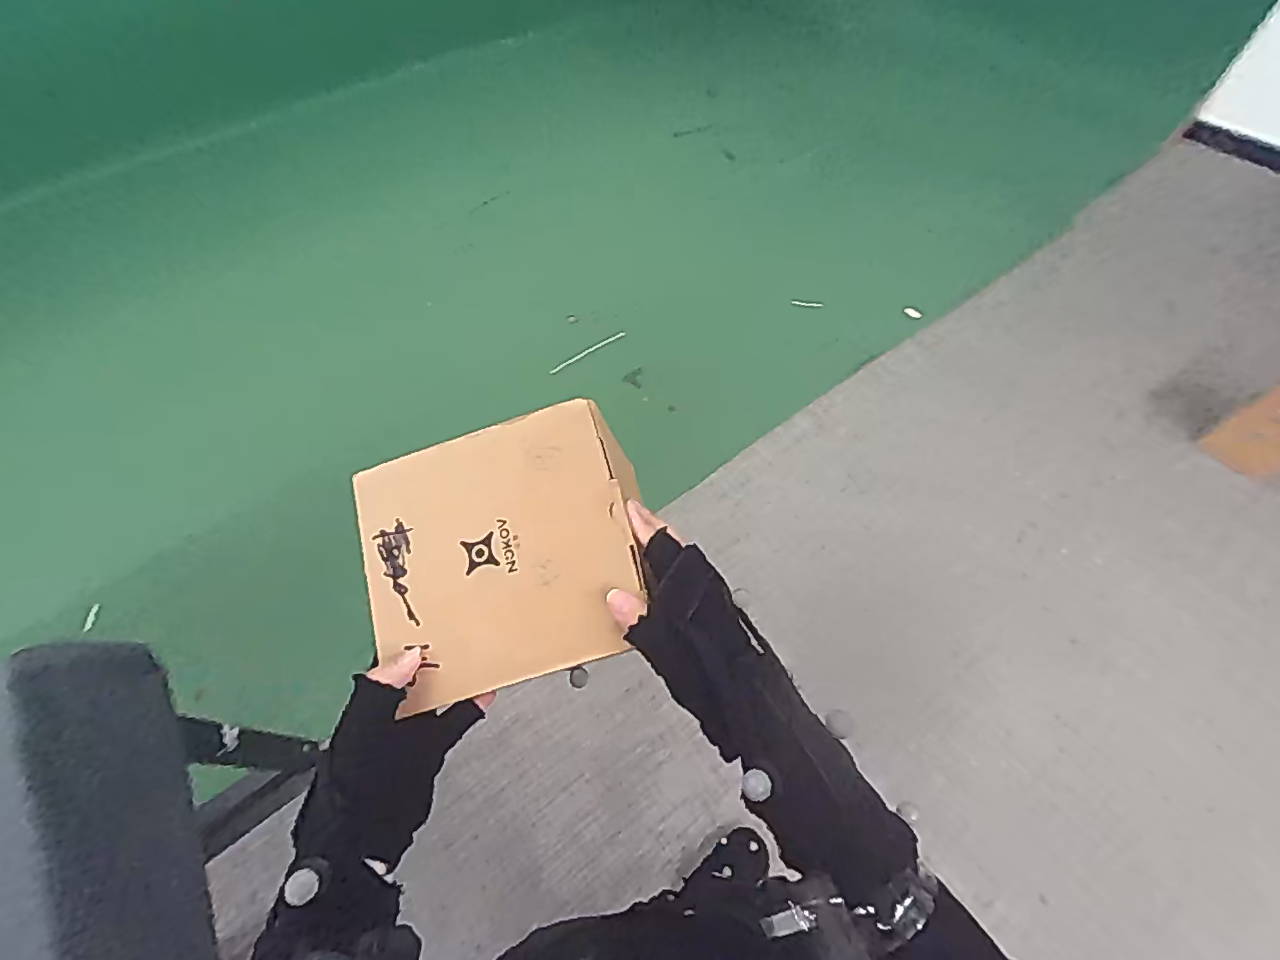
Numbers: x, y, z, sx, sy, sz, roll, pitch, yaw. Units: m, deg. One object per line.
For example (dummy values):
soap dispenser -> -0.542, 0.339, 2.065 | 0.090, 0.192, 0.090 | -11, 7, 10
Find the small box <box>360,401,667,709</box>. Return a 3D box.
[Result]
small box -> -0.081, 0.063, 0.424 | 0.179, 0.176, 0.168 | -16, 73, 4

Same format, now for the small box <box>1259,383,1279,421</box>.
small box -> 1.763, -0.228, 1.373 | 0.179, 0.176, 0.168 | -34, 61, -14

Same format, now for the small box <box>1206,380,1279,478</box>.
small box -> 1.767, -0.138, 1.508 | 0.168, 0.176, 0.179 | -32, 62, -15
